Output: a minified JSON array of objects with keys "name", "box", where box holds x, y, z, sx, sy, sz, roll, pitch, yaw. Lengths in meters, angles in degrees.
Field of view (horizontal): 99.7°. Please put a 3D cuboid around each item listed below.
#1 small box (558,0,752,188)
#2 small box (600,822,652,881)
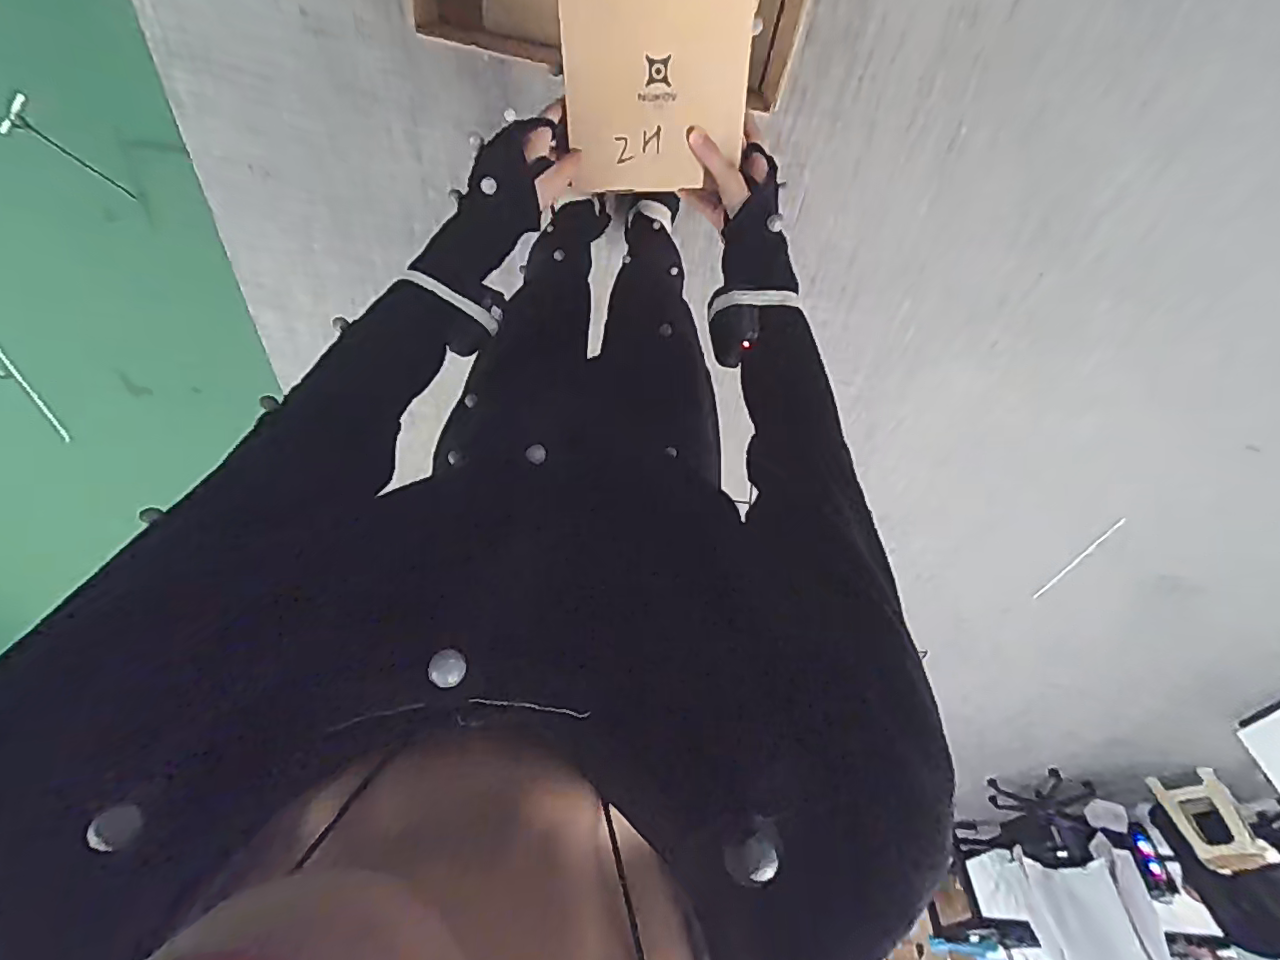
[{"name":"small box","box":[0.007,-0.404,0.542,0.168,0.176,0.179,-1,128,-2]},{"name":"small box","box":[-0.052,1.417,2.053,0.179,0.176,0.168,7,134,-3]}]
